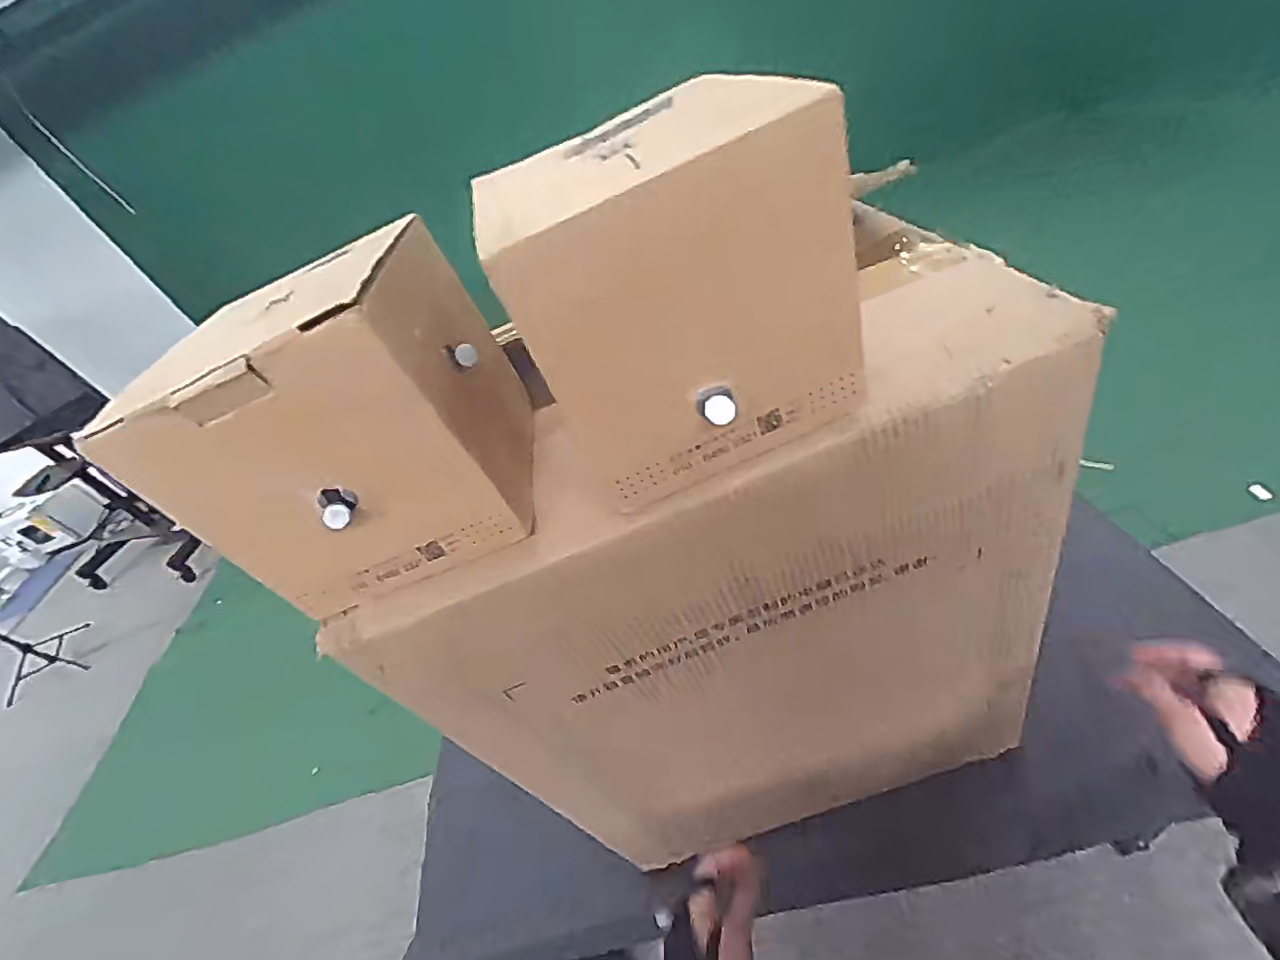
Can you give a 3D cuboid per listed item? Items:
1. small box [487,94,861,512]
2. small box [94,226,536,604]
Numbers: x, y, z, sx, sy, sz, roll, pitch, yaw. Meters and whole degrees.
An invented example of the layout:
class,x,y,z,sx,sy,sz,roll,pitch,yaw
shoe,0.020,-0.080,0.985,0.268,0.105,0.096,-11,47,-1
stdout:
class,x,y,z,sx,sy,sz,roll,pitch,yaw
small box,0.018,-0.112,0.343,0.168,0.176,0.179,-24,41,2
small box,-0.181,-0.038,0.372,0.168,0.176,0.179,-22,40,6
